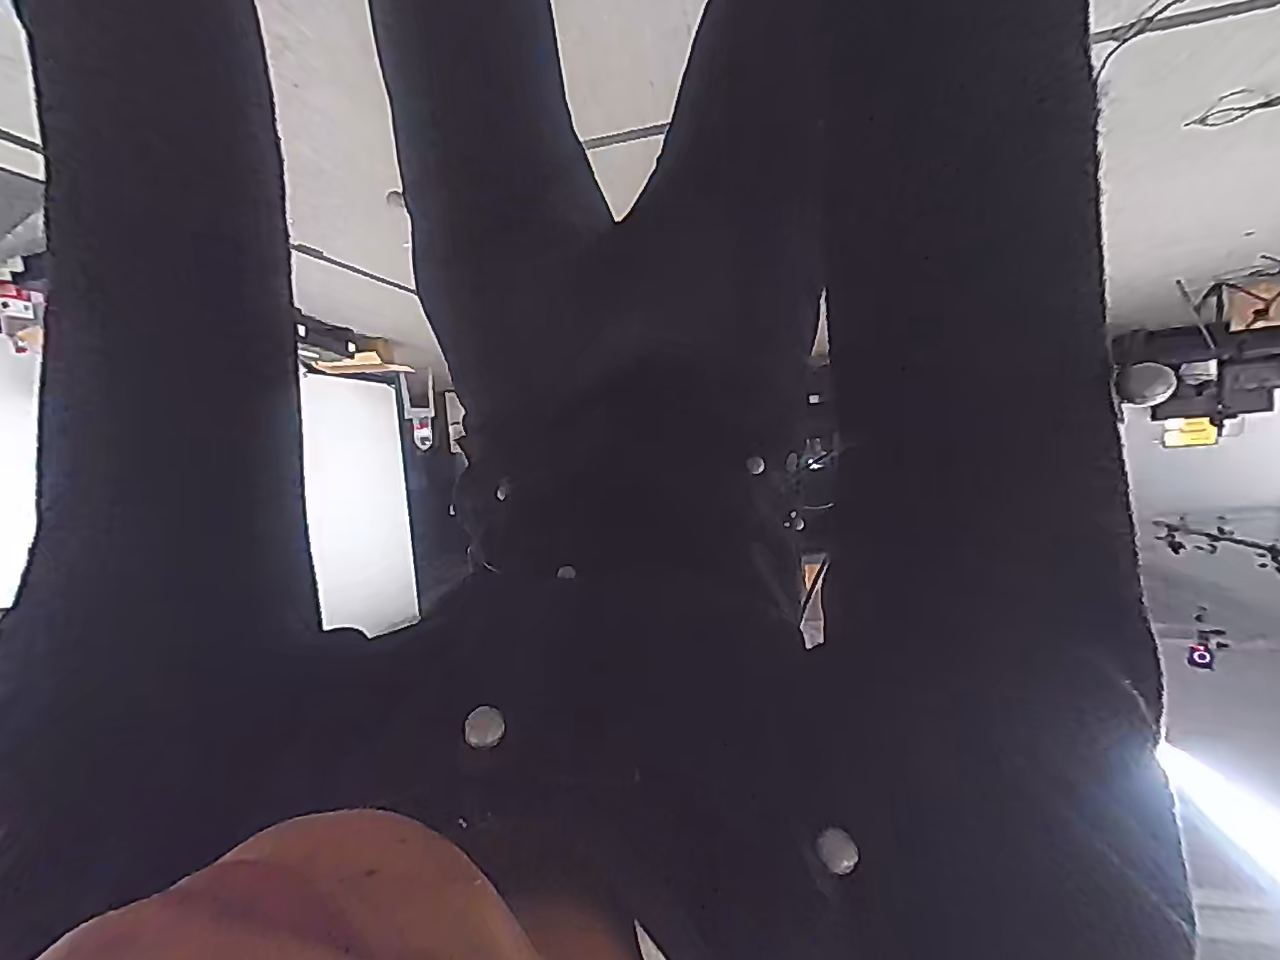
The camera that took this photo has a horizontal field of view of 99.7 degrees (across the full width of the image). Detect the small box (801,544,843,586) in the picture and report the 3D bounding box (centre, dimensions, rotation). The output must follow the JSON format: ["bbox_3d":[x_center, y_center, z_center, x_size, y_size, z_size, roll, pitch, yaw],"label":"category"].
[{"bbox_3d":[0.870,0.406,2.597,0.179,0.176,0.168,-4,-176,14],"label":"small box"}]
